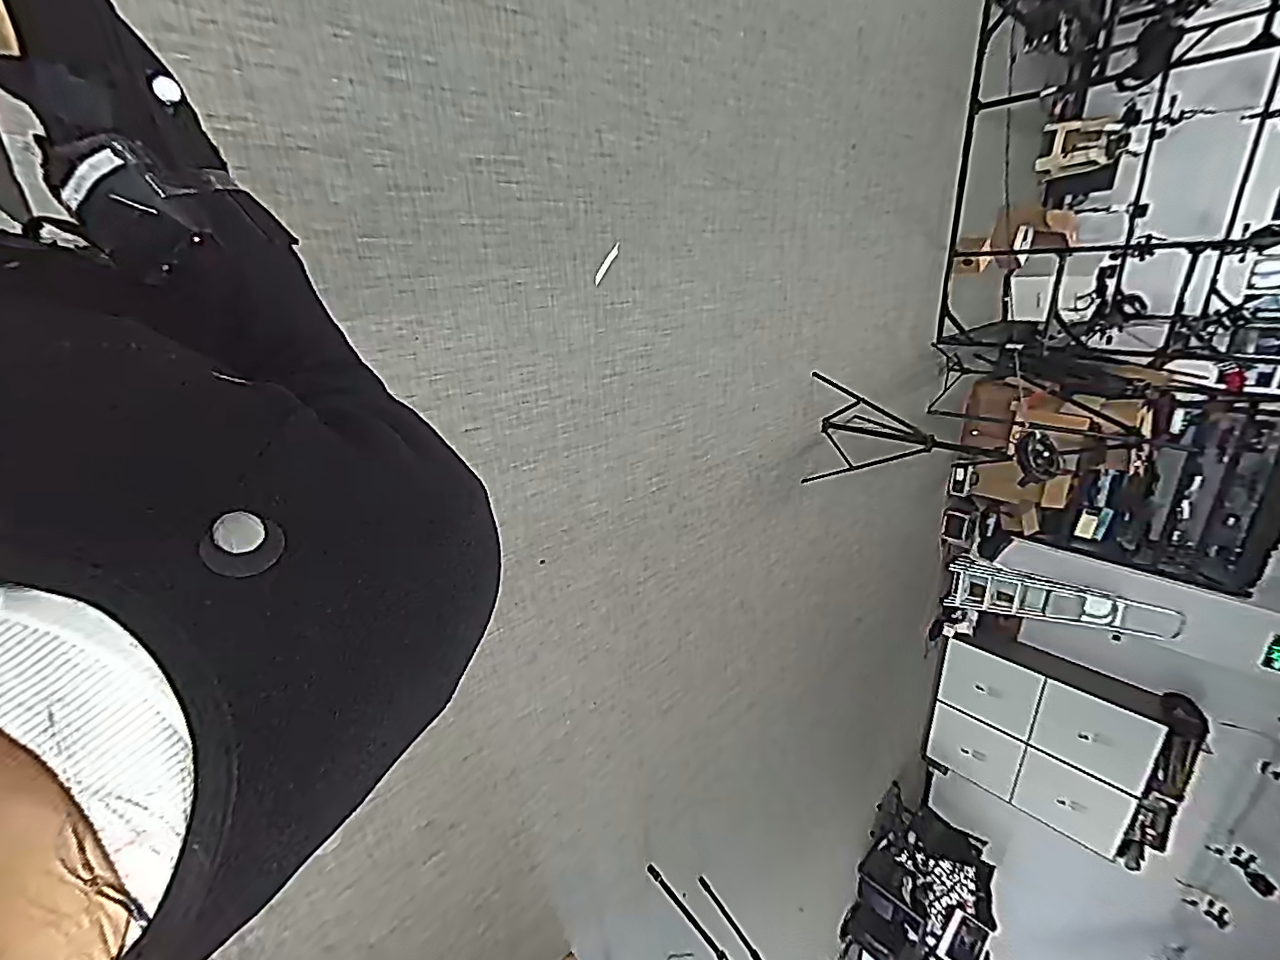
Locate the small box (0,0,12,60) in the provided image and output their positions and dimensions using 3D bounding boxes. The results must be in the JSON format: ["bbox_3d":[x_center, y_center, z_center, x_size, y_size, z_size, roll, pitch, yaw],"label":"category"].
[{"bbox_3d":[-0.327,-0.245,0.144,0.176,0.168,0.179,-19,127,-40],"label":"small box"}]
